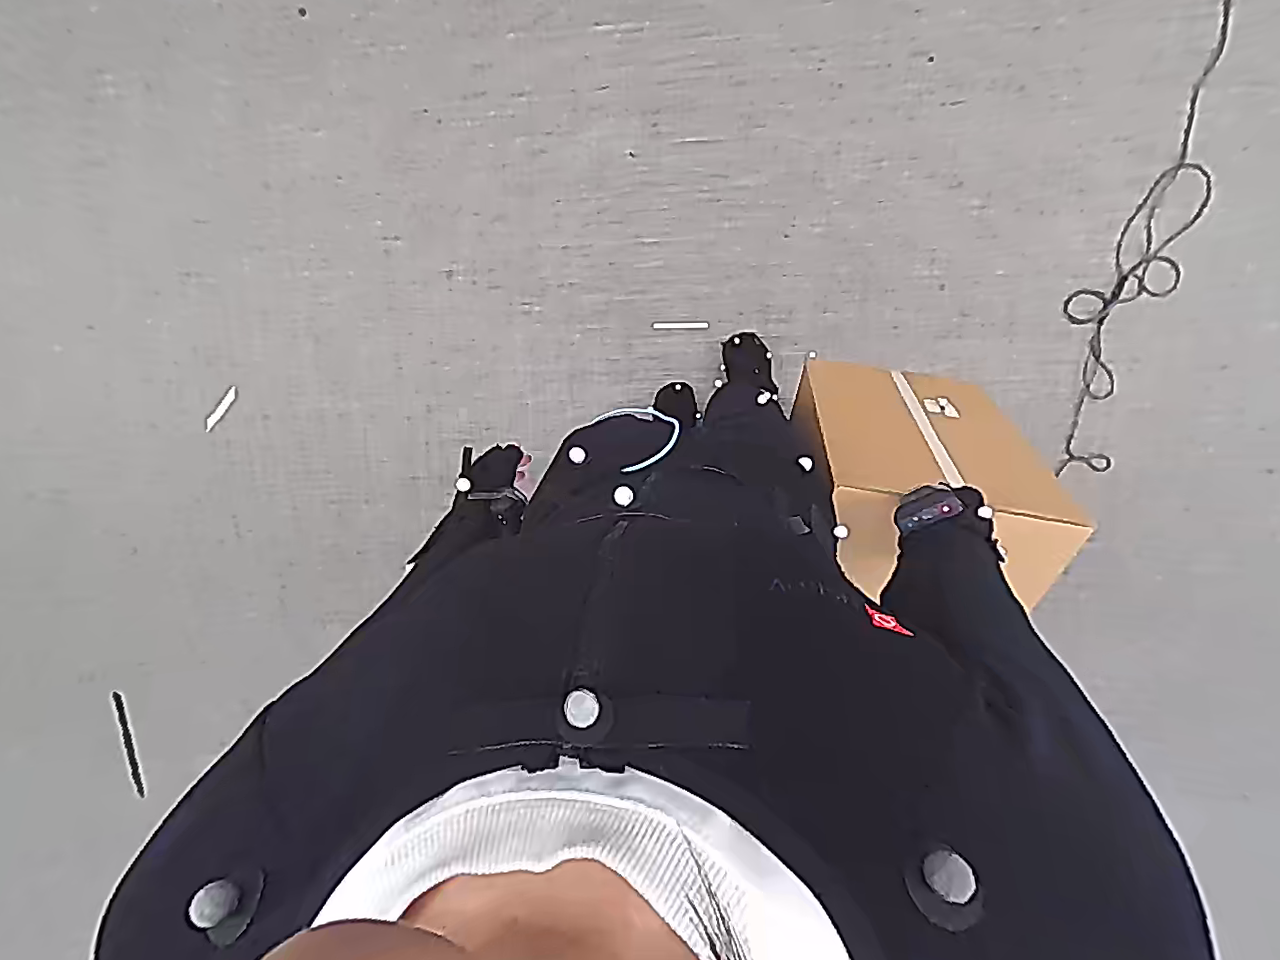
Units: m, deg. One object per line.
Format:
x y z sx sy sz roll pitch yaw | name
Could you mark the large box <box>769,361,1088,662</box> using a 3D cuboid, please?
0.414 0.034 0.914 0.320 0.408 0.320 10 125 3 | large box
